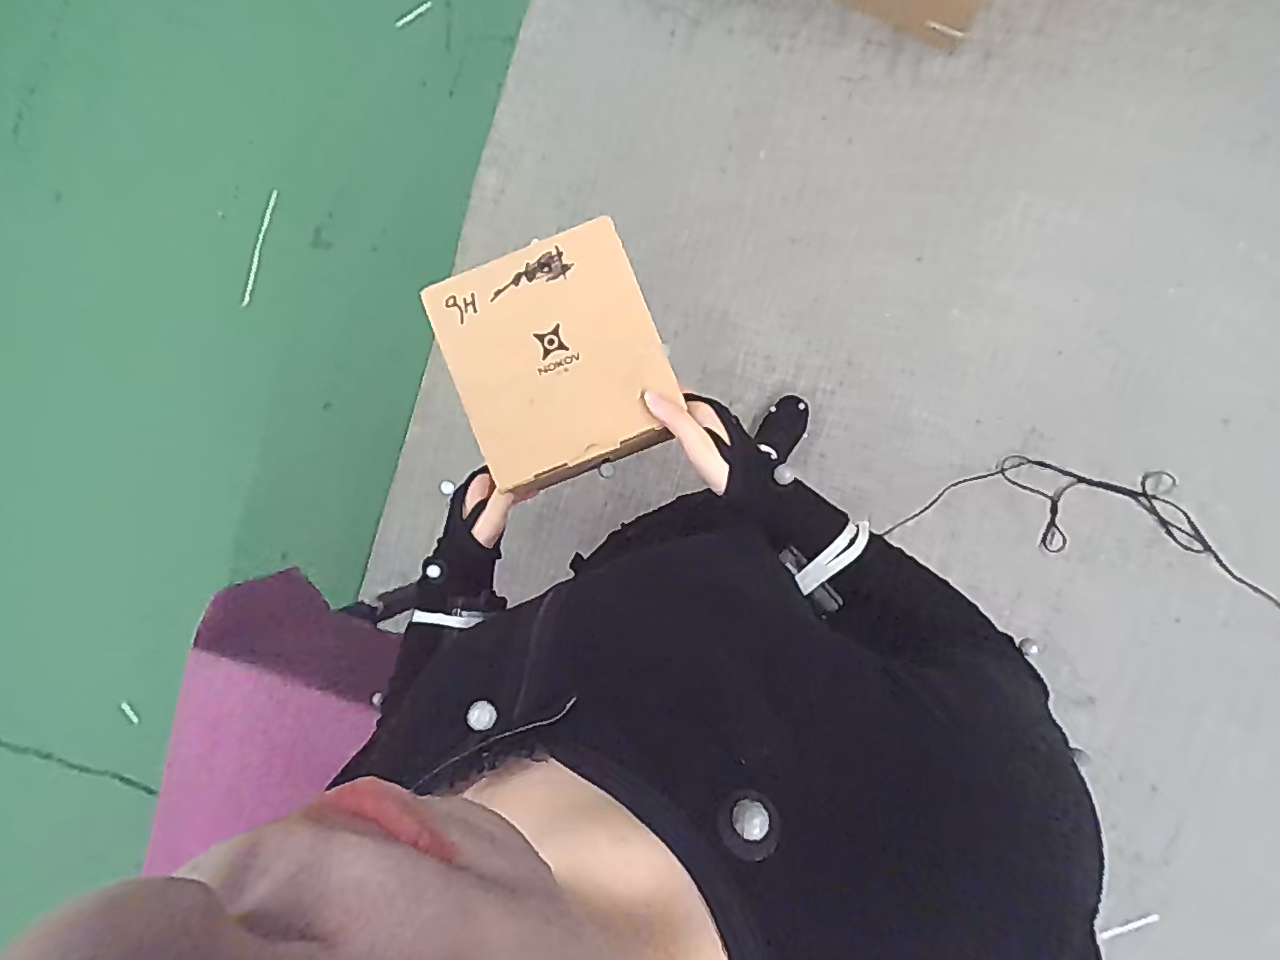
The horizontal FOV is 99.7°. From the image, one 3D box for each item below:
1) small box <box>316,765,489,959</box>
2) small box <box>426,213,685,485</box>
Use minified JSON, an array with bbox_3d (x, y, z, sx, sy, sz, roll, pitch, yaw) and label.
[{"bbox_3d":[-0.342,0.543,0.762,0.179,0.176,0.168,23,95,9],"label":"small box"},{"bbox_3d":[-0.065,-0.106,0.510,0.168,0.176,0.179,-21,90,1],"label":"small box"}]
